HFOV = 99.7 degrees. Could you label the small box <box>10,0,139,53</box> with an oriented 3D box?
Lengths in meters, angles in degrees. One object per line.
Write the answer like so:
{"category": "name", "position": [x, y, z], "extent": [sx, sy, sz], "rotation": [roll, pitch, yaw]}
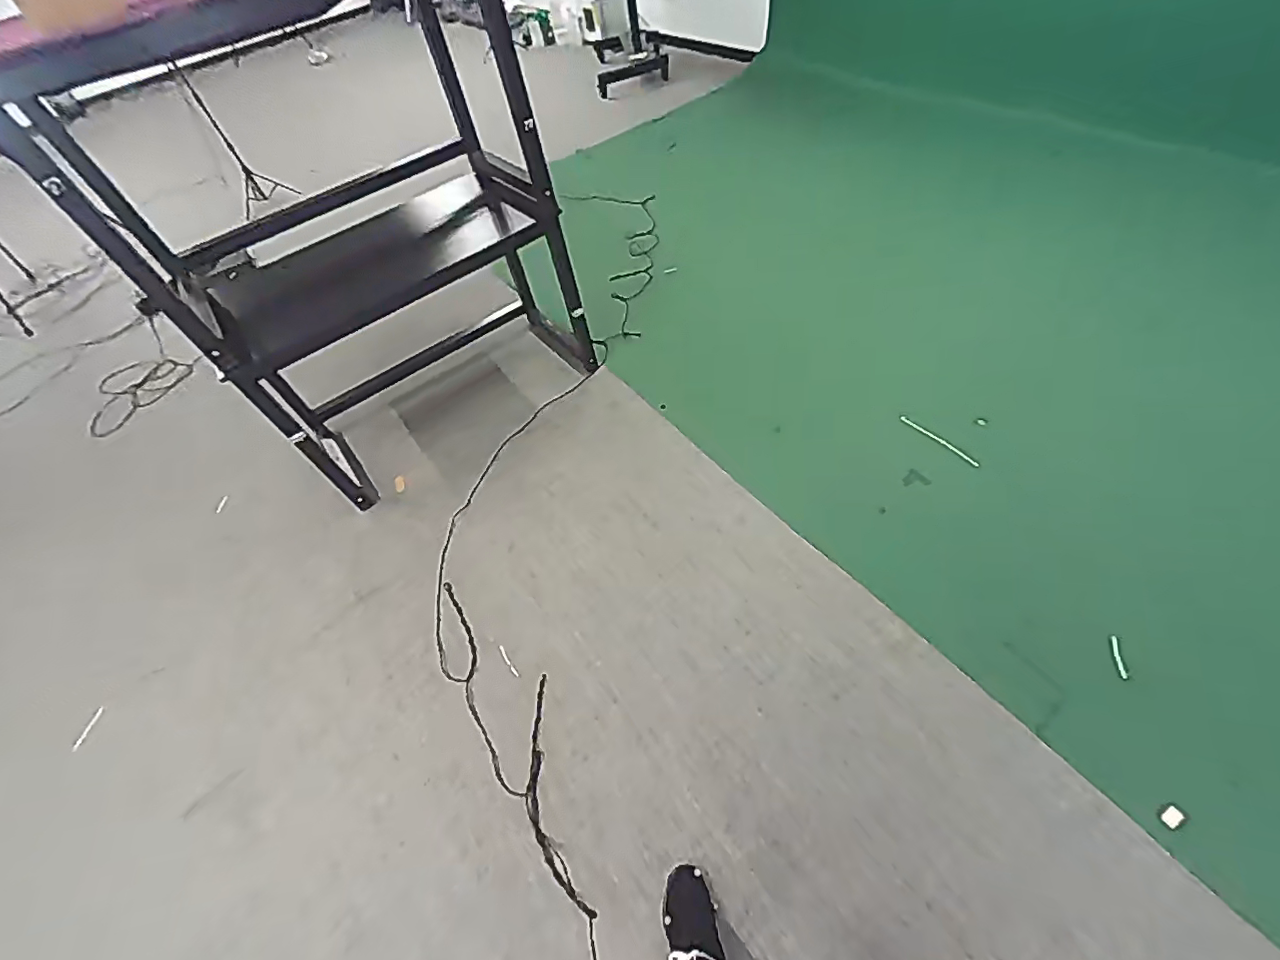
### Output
{"category": "small box", "position": [-1.209, -1.021, 1.125], "extent": [0.179, 0.176, 0.168], "rotation": [-37, 55, -17]}
